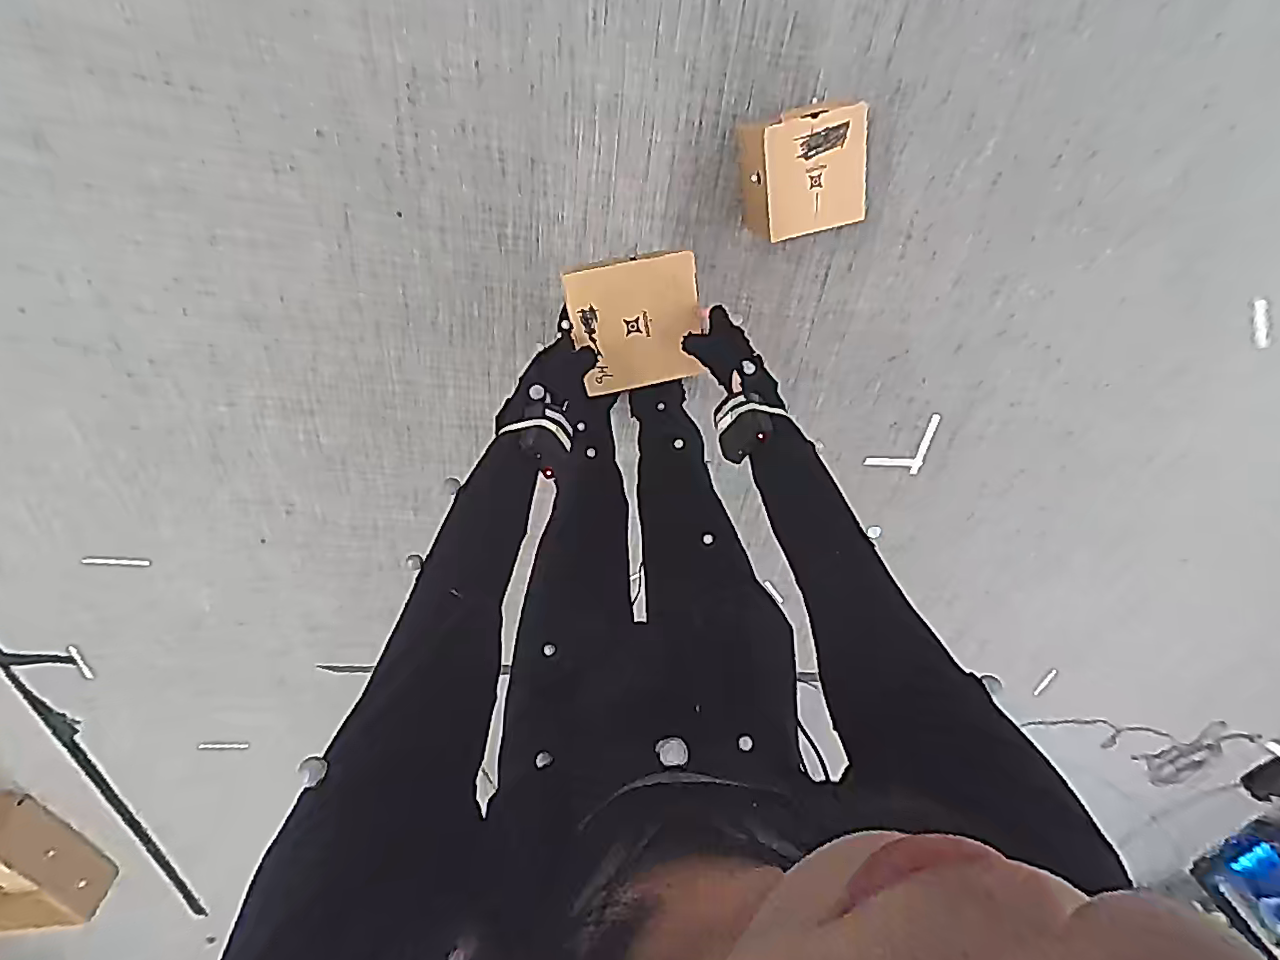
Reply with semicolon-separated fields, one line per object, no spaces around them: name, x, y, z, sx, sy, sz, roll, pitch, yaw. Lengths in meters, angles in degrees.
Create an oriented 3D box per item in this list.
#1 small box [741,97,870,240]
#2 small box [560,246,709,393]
small box;0.280;-0.538;0.939;0.168;0.176;0.179;-13;124;3
small box;-0.013;-0.242;0.790;0.179;0.176;0.168;-13;114;-5
